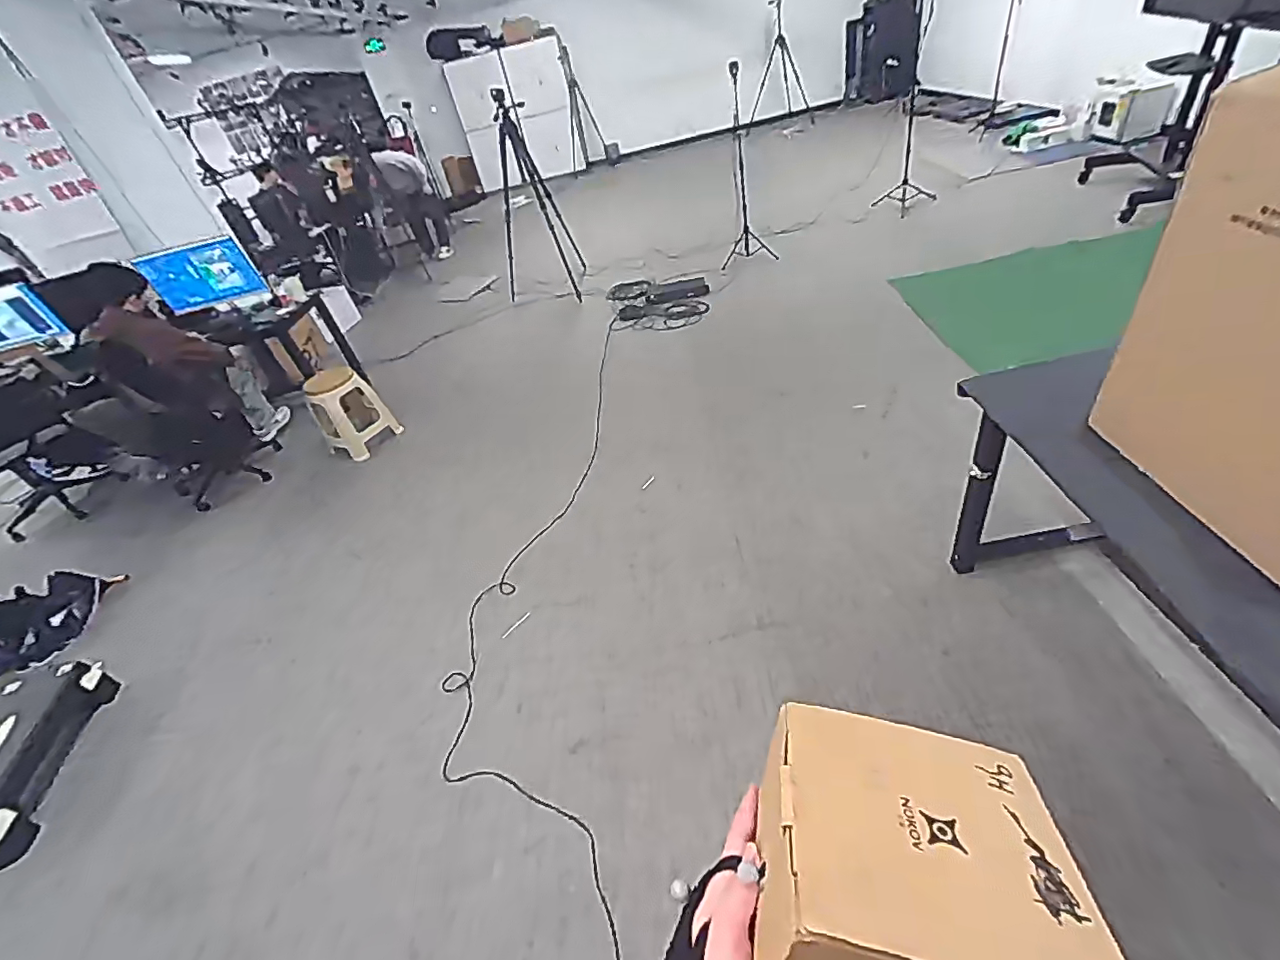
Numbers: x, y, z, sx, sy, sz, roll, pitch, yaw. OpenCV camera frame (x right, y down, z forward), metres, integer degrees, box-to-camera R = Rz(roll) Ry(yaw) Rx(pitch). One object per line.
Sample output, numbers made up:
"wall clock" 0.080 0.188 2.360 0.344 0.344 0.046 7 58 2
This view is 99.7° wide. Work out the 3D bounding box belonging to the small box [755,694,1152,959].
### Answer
"small box" 0.174 0.282 0.361 0.179 0.176 0.168 10 23 8
